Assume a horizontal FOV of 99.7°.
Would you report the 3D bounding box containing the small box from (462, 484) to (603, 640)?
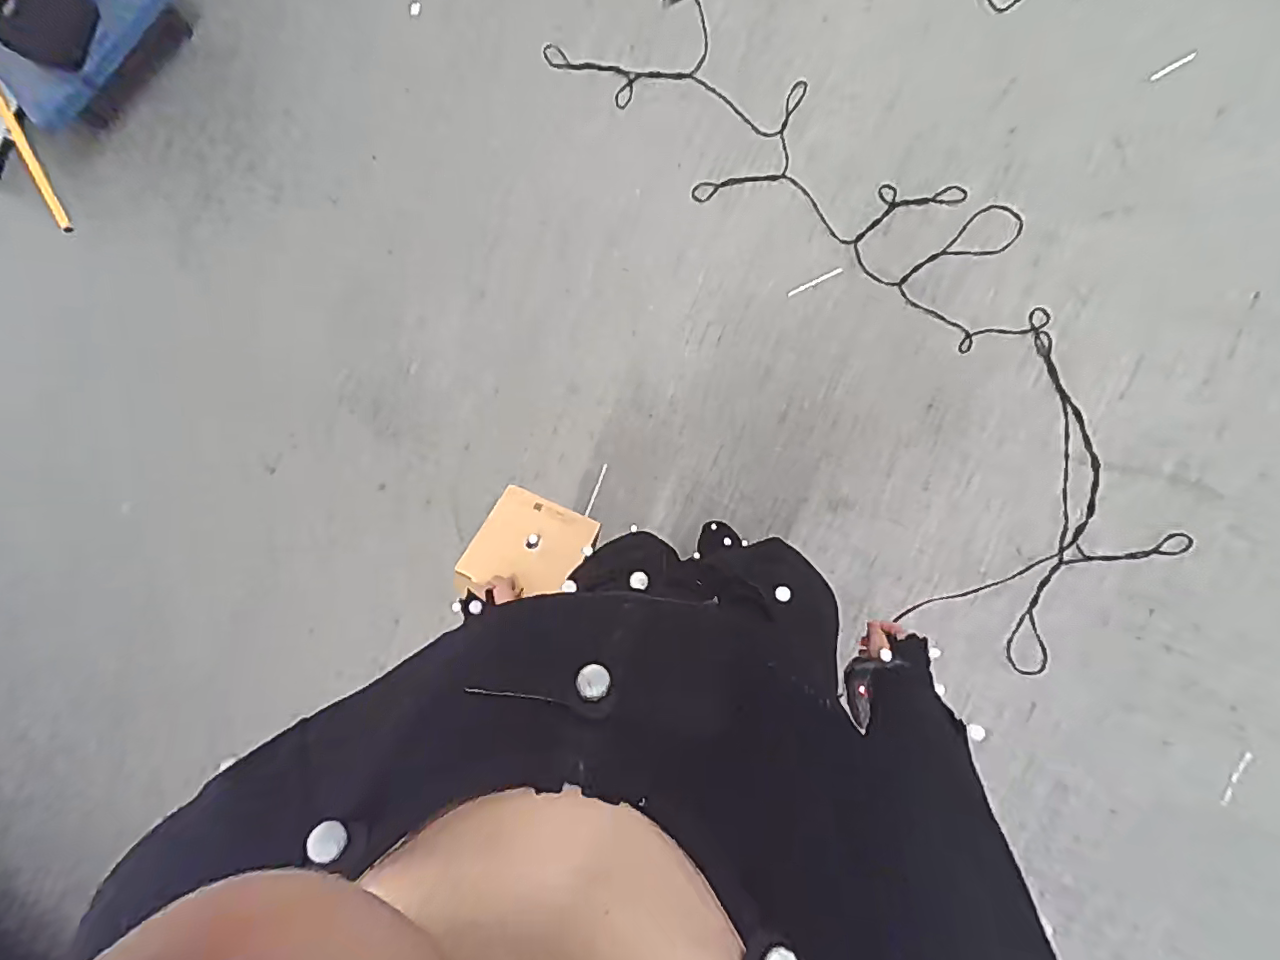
[{"bbox_3d":[-0.172,0.134,0.894,0.168,0.179,0.176,25,57,3],"label":"small box"}]
